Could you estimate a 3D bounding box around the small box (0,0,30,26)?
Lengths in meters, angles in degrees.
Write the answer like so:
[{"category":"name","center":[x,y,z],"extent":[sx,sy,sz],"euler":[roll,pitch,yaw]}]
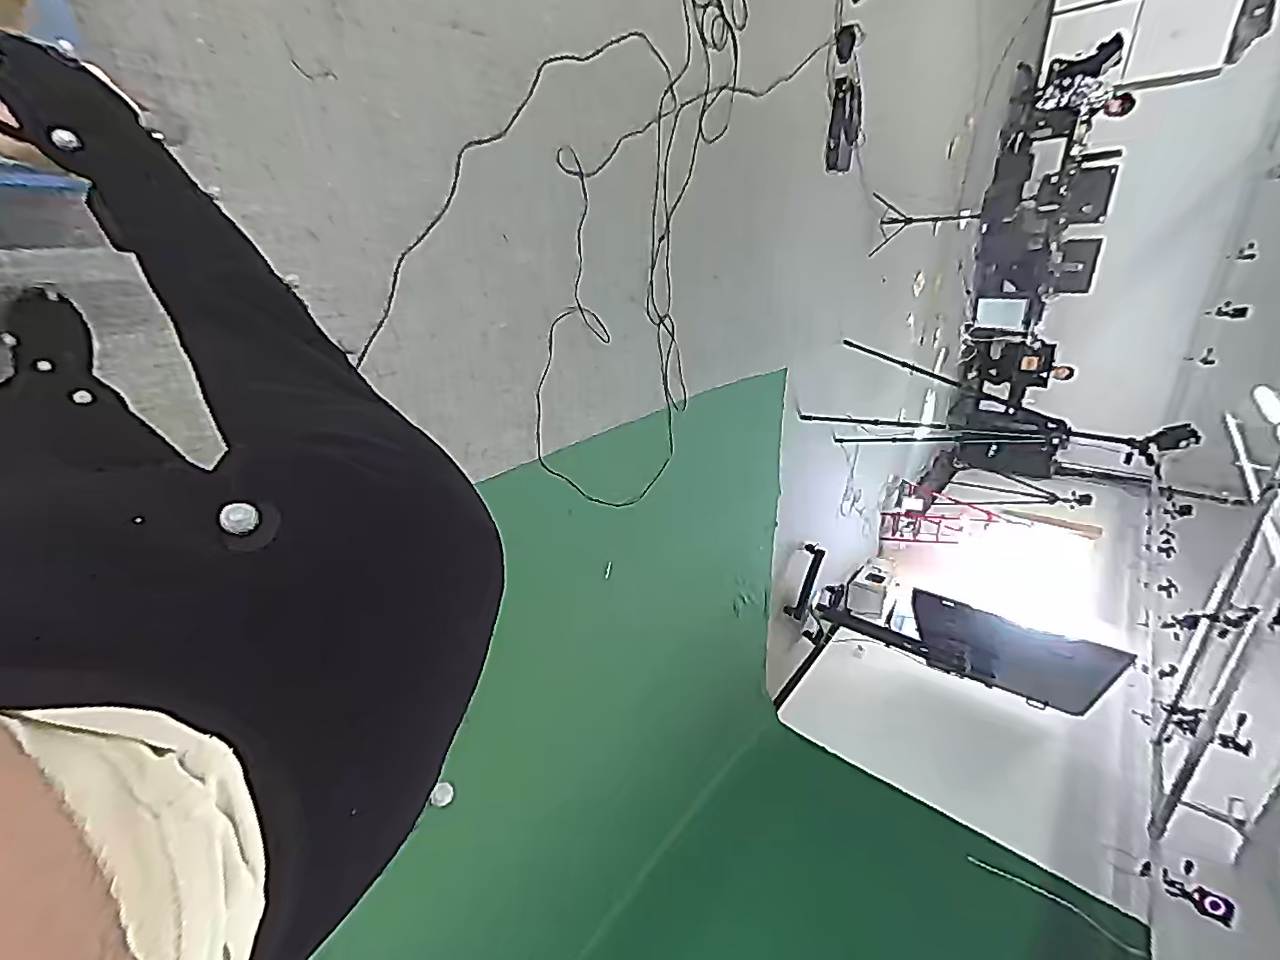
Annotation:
[{"category":"small box","center":[-0.970,-0.753,0.718],"extent":[0.168,0.176,0.179],"euler":[-24,122,-45]}]
